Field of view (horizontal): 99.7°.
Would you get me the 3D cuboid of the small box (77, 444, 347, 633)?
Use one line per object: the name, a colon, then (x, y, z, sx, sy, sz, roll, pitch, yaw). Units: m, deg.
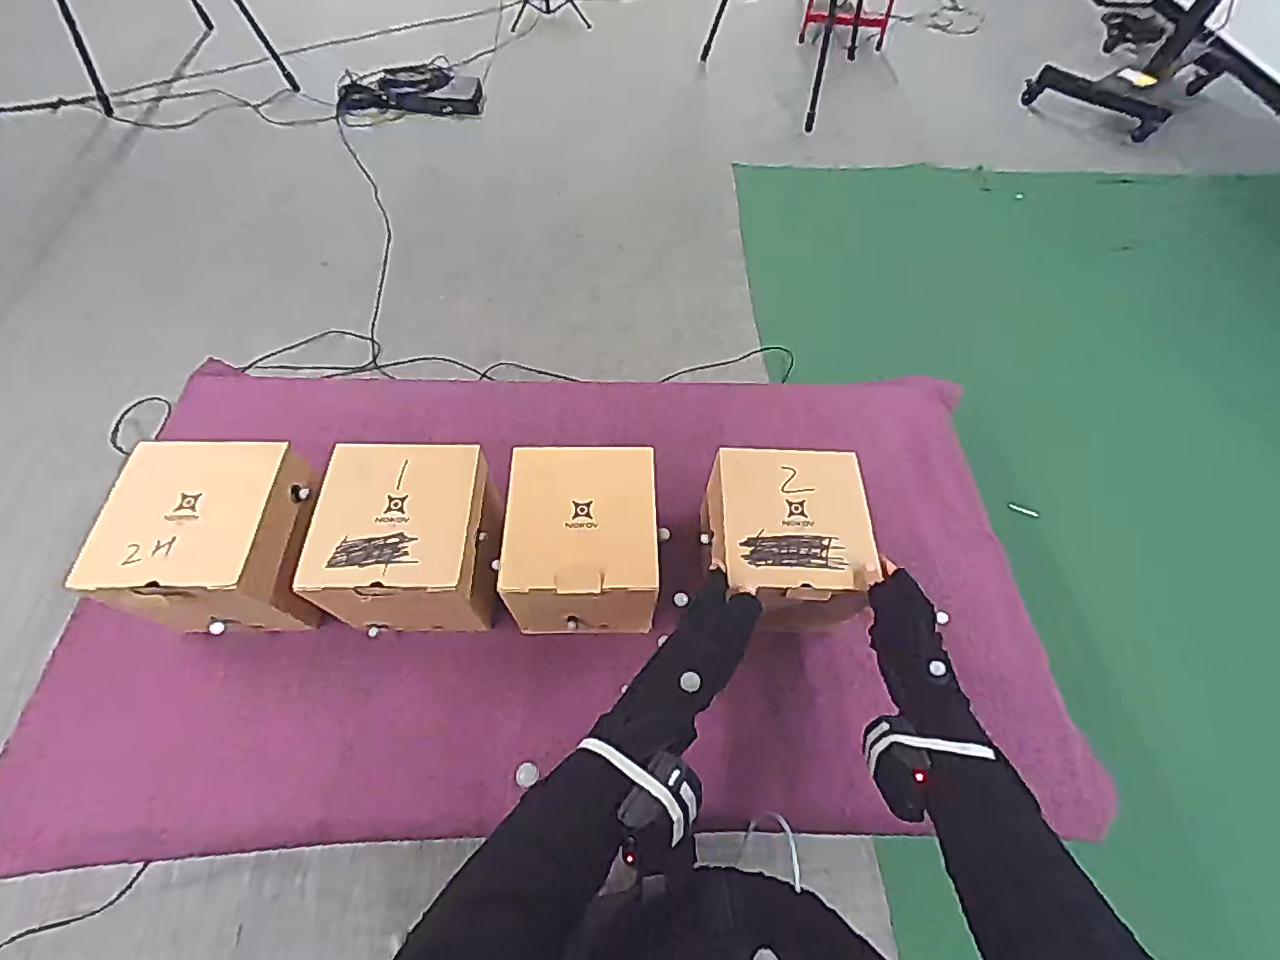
small box: (-0.482, 0.074, 0.649, 0.168, 0.176, 0.179, 0, 61, -2)
